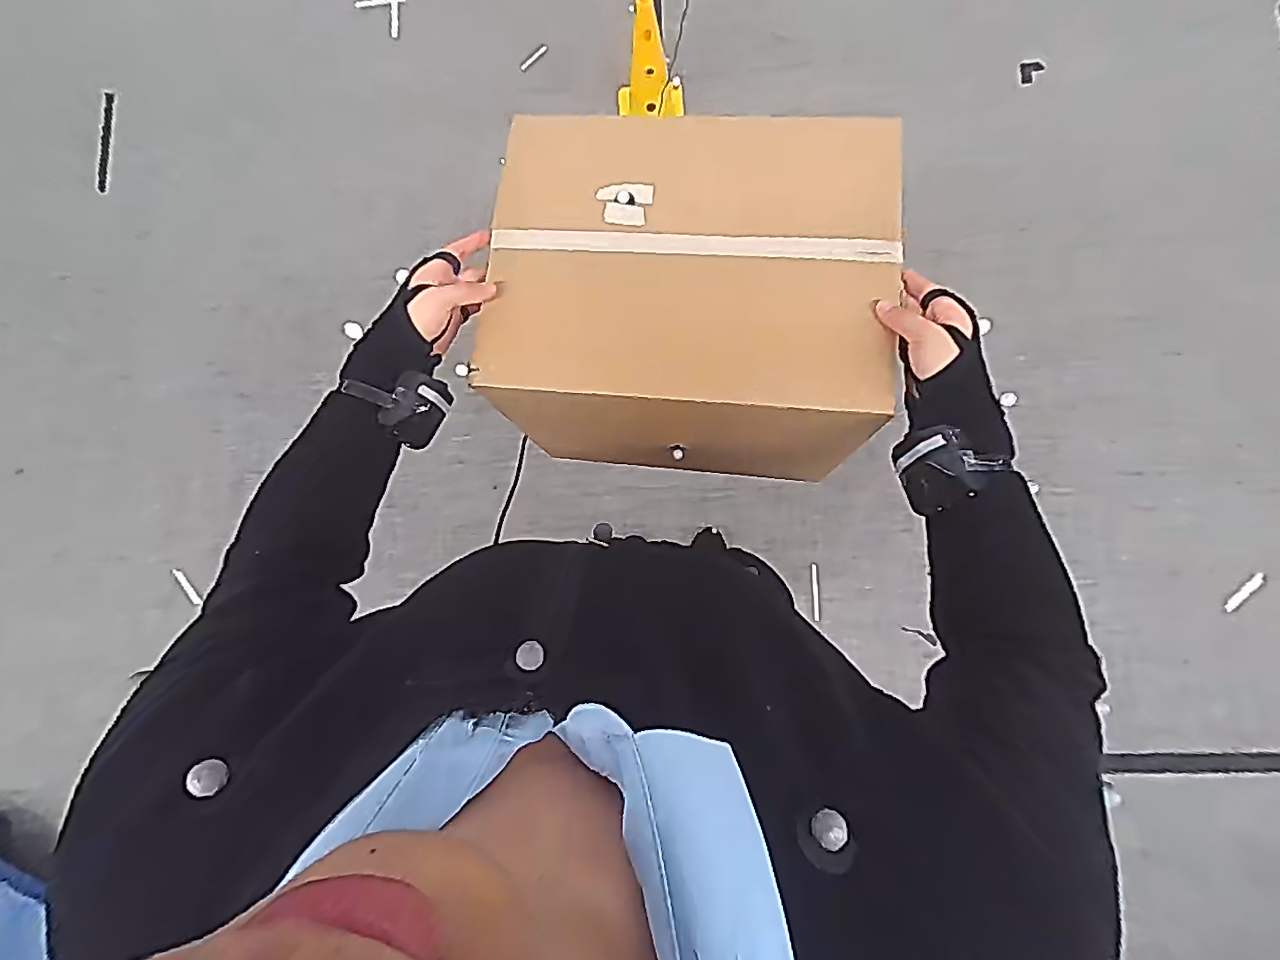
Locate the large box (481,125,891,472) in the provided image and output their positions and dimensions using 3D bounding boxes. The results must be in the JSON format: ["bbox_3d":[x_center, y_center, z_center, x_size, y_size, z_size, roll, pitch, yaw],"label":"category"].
[{"bbox_3d":[0.065,-0.197,0.694,0.408,0.320,0.320,4,78,7],"label":"large box"}]
